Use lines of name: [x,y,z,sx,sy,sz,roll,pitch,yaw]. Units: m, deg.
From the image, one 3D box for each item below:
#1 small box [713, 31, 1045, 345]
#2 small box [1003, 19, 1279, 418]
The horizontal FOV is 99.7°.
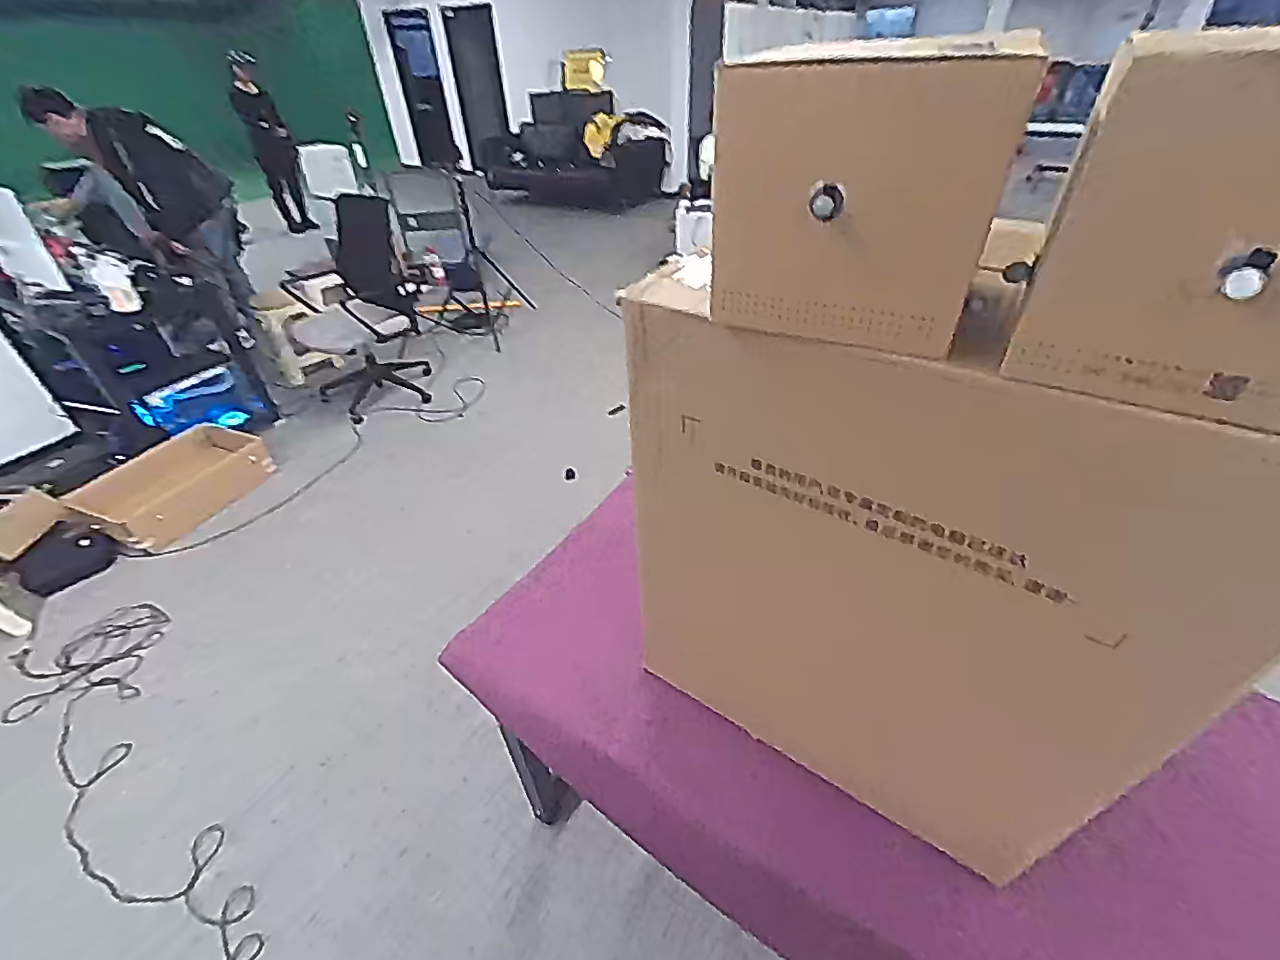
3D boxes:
small box: [0.165,-0.217,0.403,0.179,0.176,0.168,16,44,23]
small box: [0.341,-0.157,0.318,0.168,0.176,0.179,21,46,26]
